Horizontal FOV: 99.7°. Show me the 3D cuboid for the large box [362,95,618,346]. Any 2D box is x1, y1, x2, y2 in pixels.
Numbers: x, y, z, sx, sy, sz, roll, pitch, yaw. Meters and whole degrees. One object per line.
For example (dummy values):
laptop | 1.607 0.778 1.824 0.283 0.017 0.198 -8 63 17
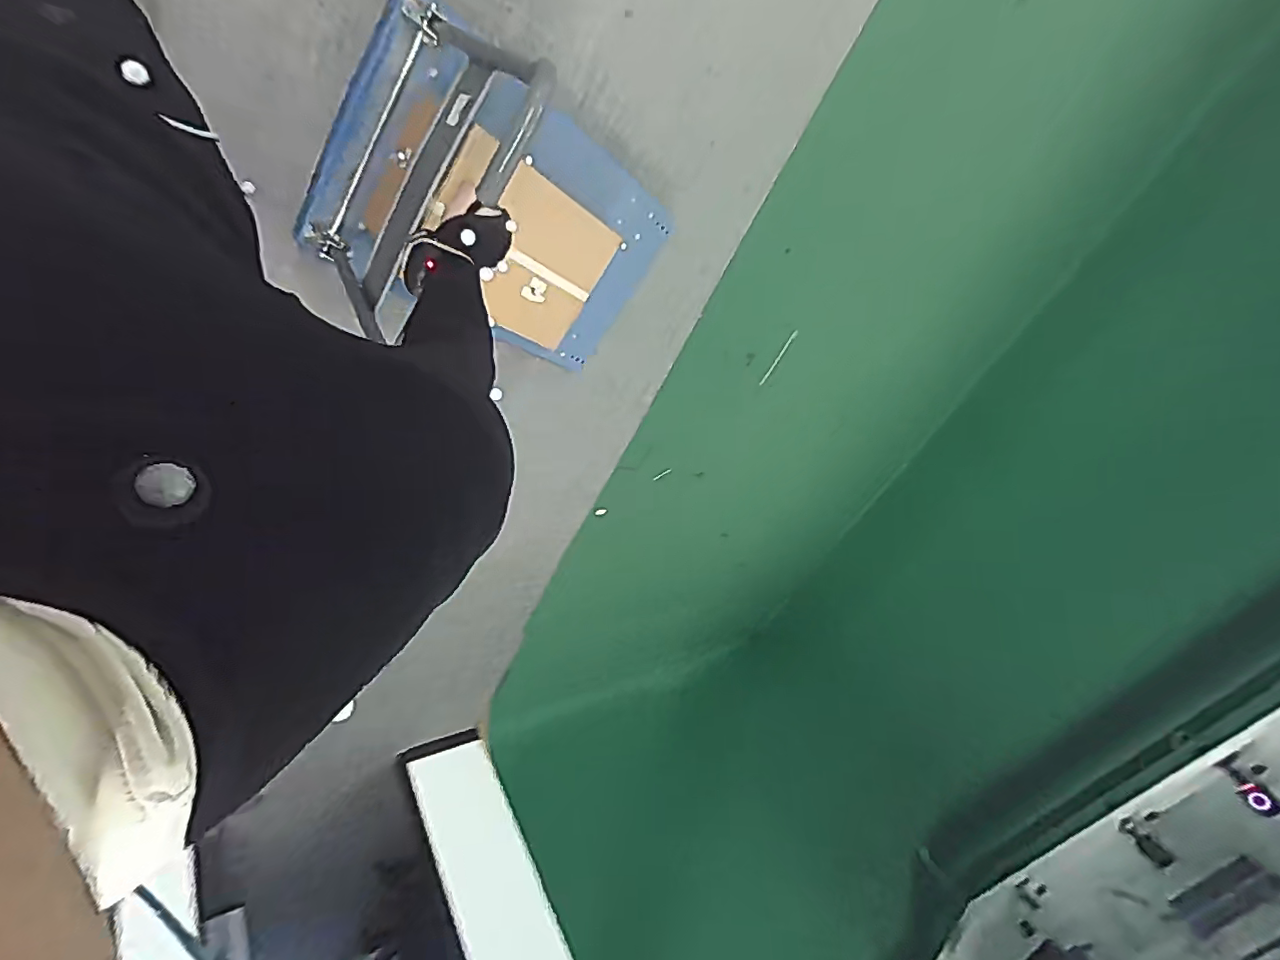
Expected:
large box | -0.339 -0.568 1.226 0.408 0.320 0.320 15 118 -50
